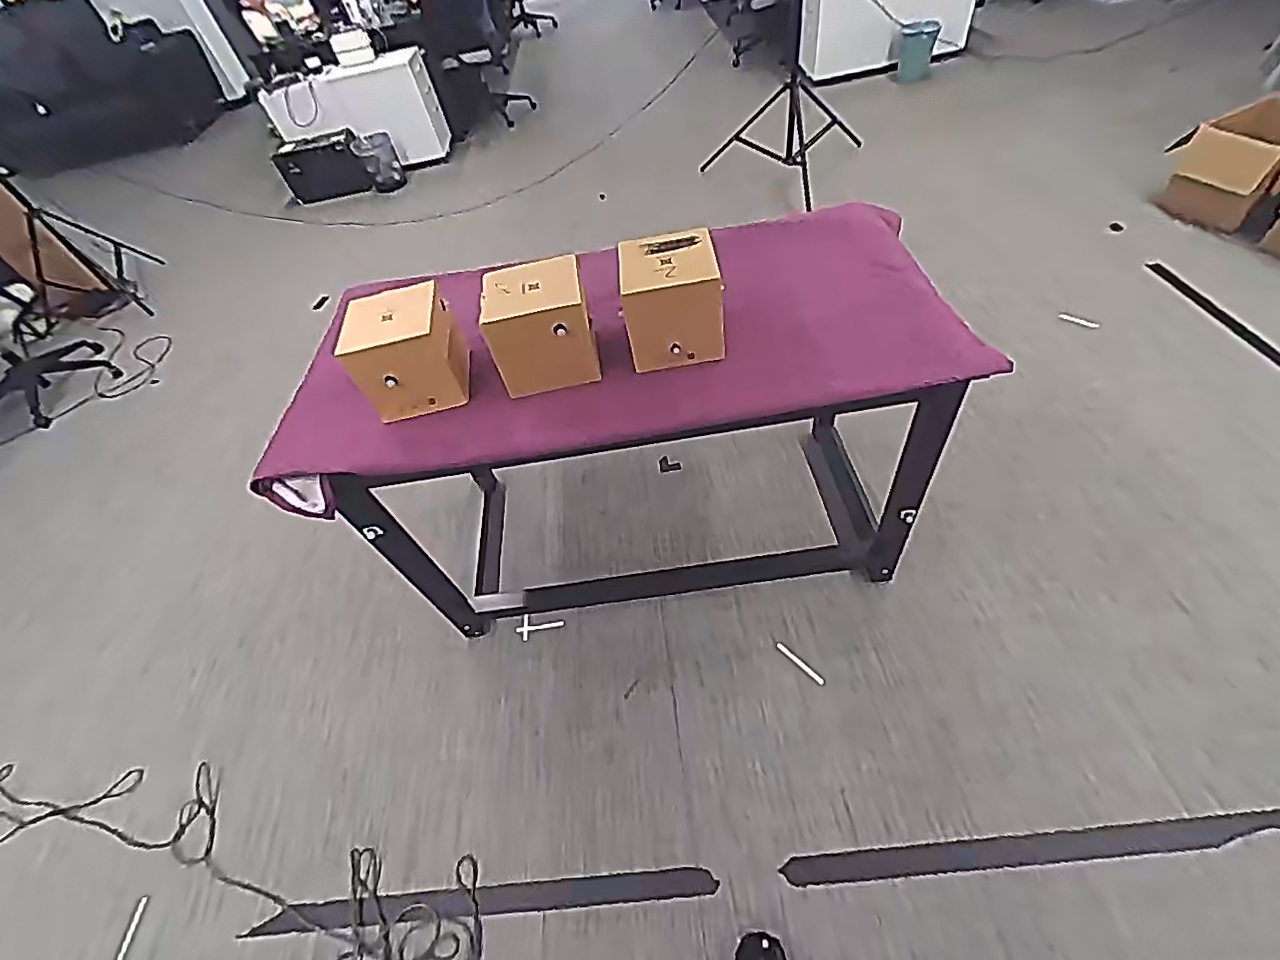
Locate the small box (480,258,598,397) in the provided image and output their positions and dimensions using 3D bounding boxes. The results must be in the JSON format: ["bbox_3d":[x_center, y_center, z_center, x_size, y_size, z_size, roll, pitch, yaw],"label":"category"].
[{"bbox_3d":[-0.179,-0.278,1.001,0.179,0.176,0.168,-12,49,1],"label":"small box"}]

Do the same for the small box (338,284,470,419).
[{"bbox_3d":[-0.431,-0.233,1.018,0.168,0.176,0.179,-14,50,0],"label":"small box"}]
